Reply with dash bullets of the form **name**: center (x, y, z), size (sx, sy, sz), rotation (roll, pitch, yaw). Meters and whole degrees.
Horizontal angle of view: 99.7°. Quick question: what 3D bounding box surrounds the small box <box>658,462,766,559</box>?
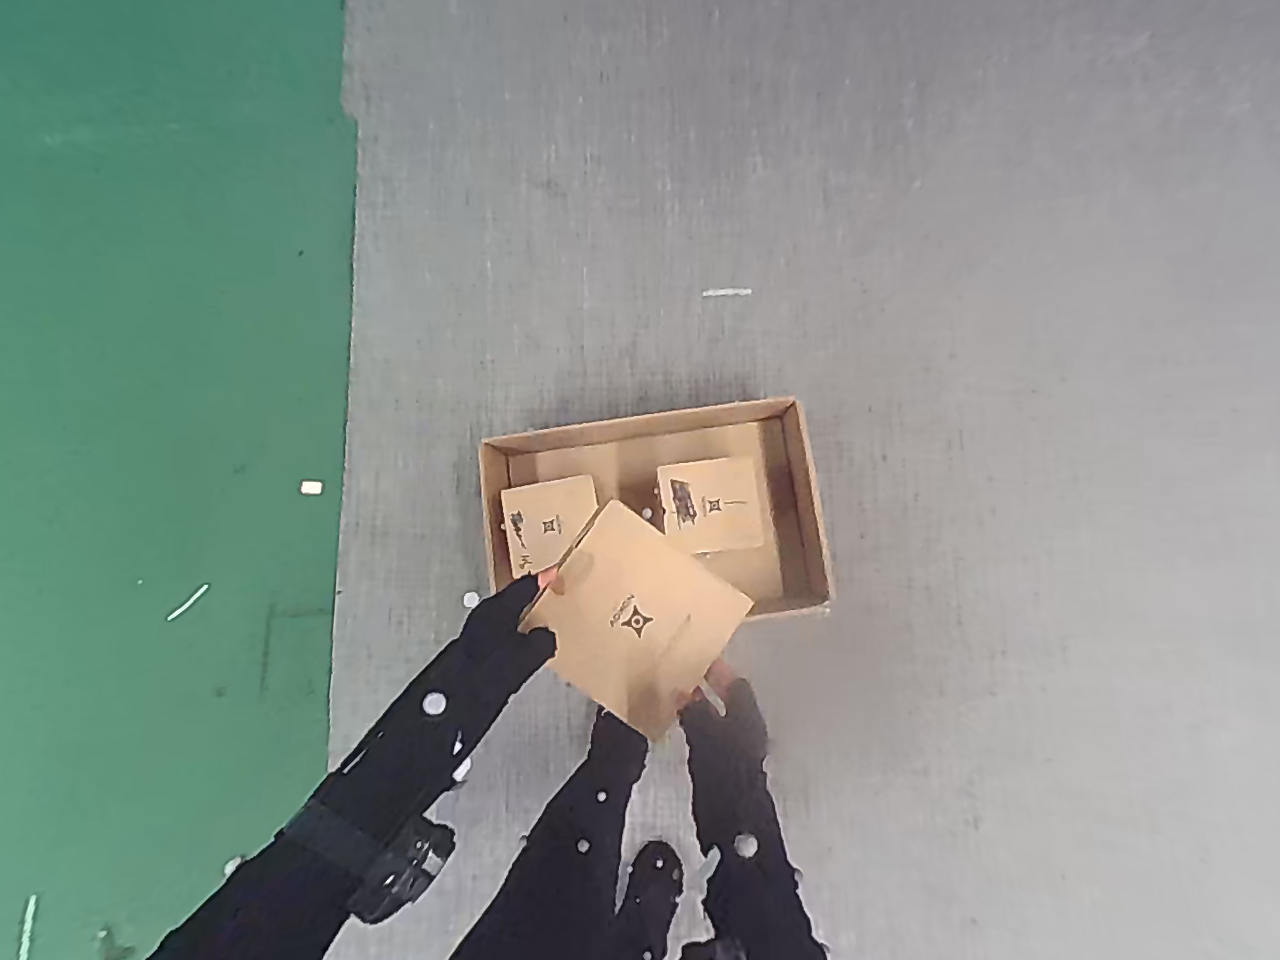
- **small box**: center (0.133, 0.067, 1.039), size (0.179, 0.176, 0.168), rotation (-7, 83, 2)

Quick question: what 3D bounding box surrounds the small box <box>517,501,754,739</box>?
- **small box**: center (-0.010, 0.139, 0.600), size (0.179, 0.176, 0.168), rotation (36, 86, -4)

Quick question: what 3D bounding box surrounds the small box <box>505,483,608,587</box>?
- **small box**: center (-0.146, 0.107, 1.052), size (0.179, 0.176, 0.168), rotation (-11, 82, 1)
